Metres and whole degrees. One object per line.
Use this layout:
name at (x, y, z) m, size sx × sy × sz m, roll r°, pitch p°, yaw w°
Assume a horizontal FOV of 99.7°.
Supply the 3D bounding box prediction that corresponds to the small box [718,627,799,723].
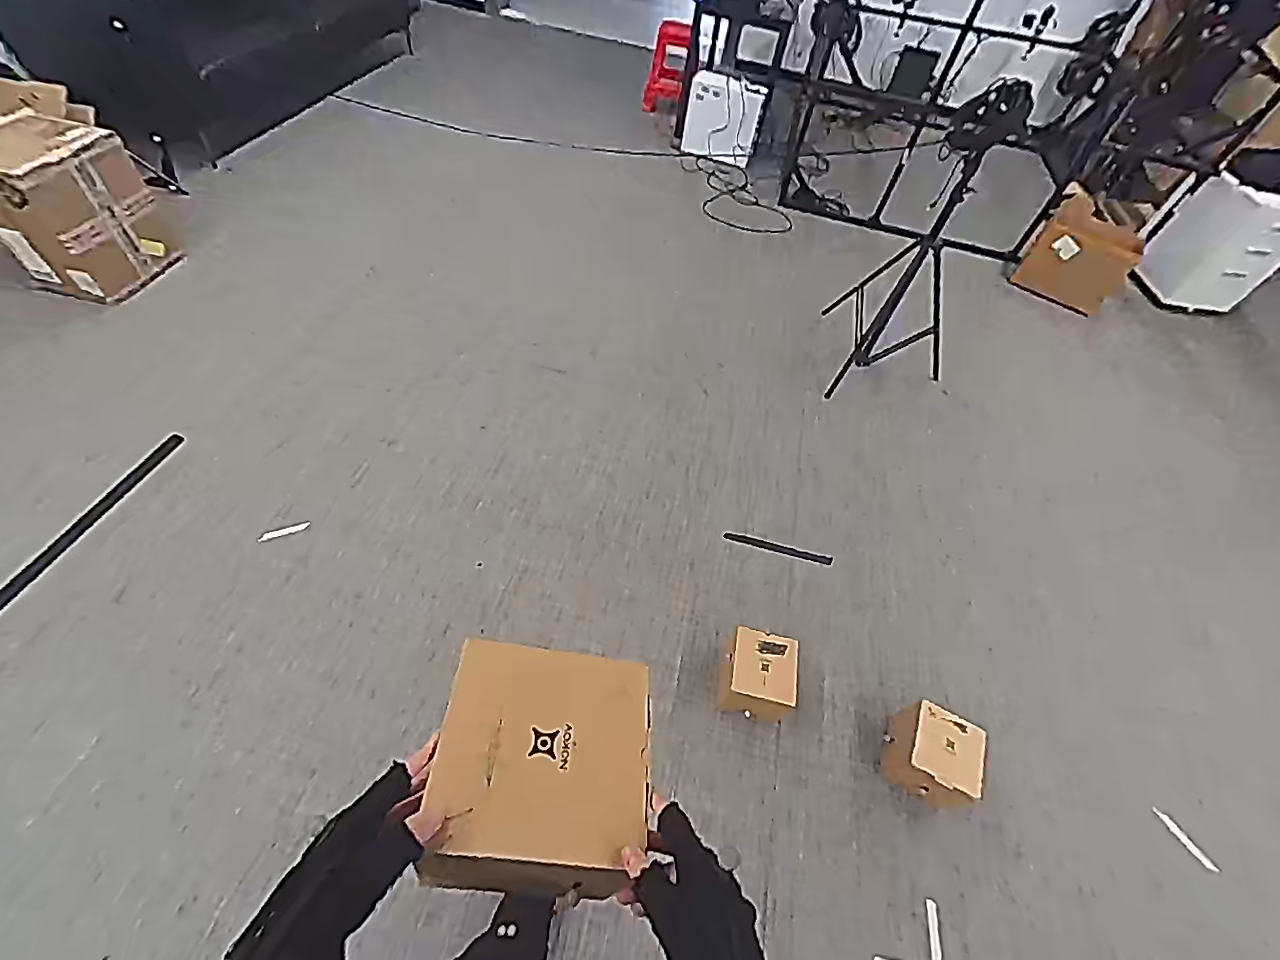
small box at (0.312, 0.521, 1.437) m, size 0.168 × 0.176 × 0.179 m, roll 14°, pitch 53°, yaw 2°

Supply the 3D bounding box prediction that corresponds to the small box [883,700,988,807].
small box at (0.741, 0.698, 1.368) m, size 0.168 × 0.176 × 0.179 m, roll 27°, pitch 54°, yaw 11°

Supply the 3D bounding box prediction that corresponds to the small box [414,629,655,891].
small box at (-0.091, 0.262, 0.500) m, size 0.179 × 0.176 × 0.168 m, roll 10°, pitch 43°, yaw -9°
